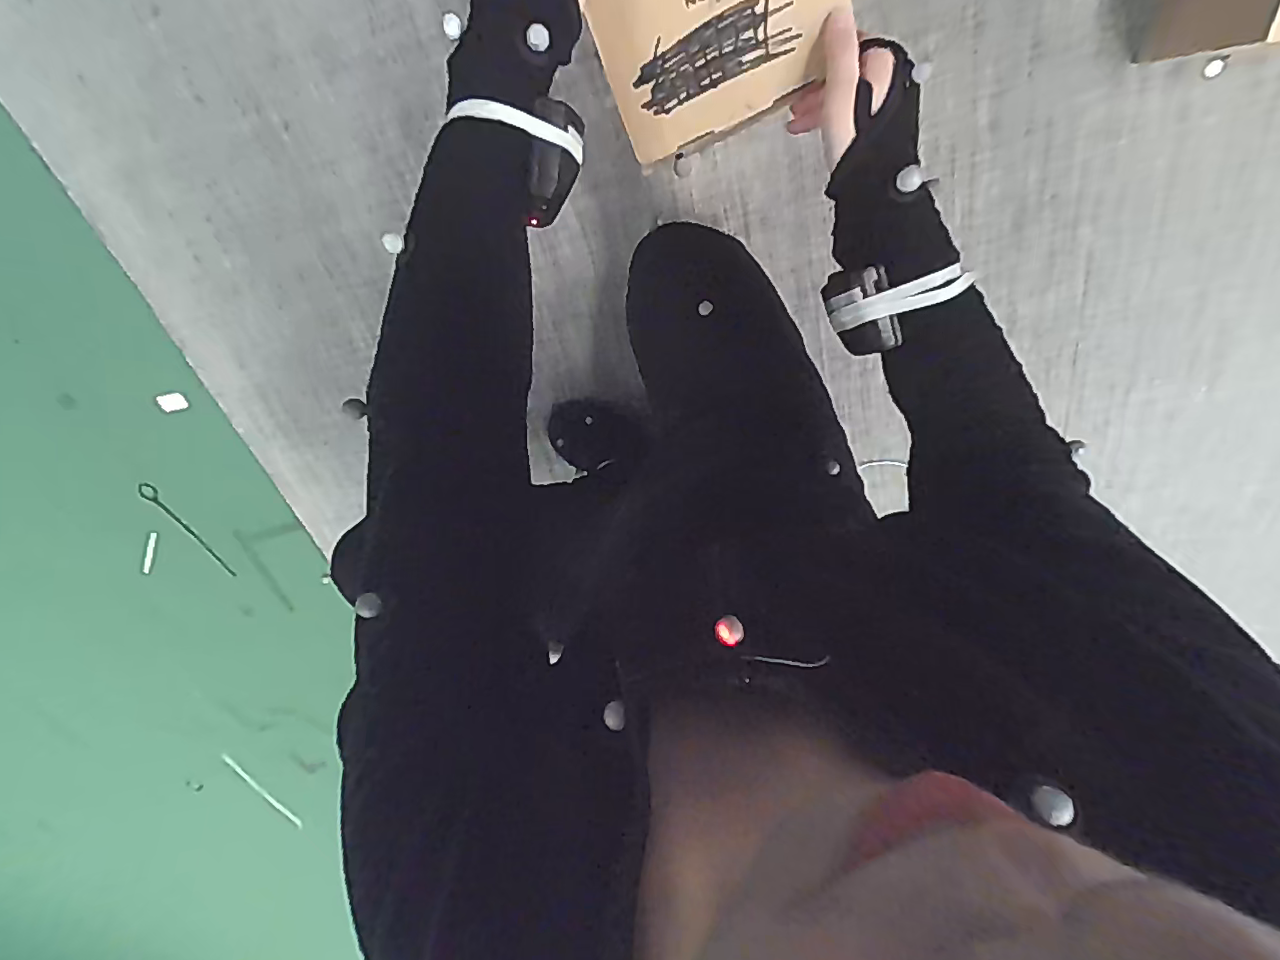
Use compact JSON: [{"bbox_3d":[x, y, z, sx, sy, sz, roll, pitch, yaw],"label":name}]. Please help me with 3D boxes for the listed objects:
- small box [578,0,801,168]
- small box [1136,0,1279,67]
[{"bbox_3d":[0.054,-0.456,0.581,0.179,0.176,0.168,-19,118,13],"label":"small box"},{"bbox_3d":[0.647,-0.524,0.521,0.168,0.176,0.179,-1,120,3],"label":"small box"}]
